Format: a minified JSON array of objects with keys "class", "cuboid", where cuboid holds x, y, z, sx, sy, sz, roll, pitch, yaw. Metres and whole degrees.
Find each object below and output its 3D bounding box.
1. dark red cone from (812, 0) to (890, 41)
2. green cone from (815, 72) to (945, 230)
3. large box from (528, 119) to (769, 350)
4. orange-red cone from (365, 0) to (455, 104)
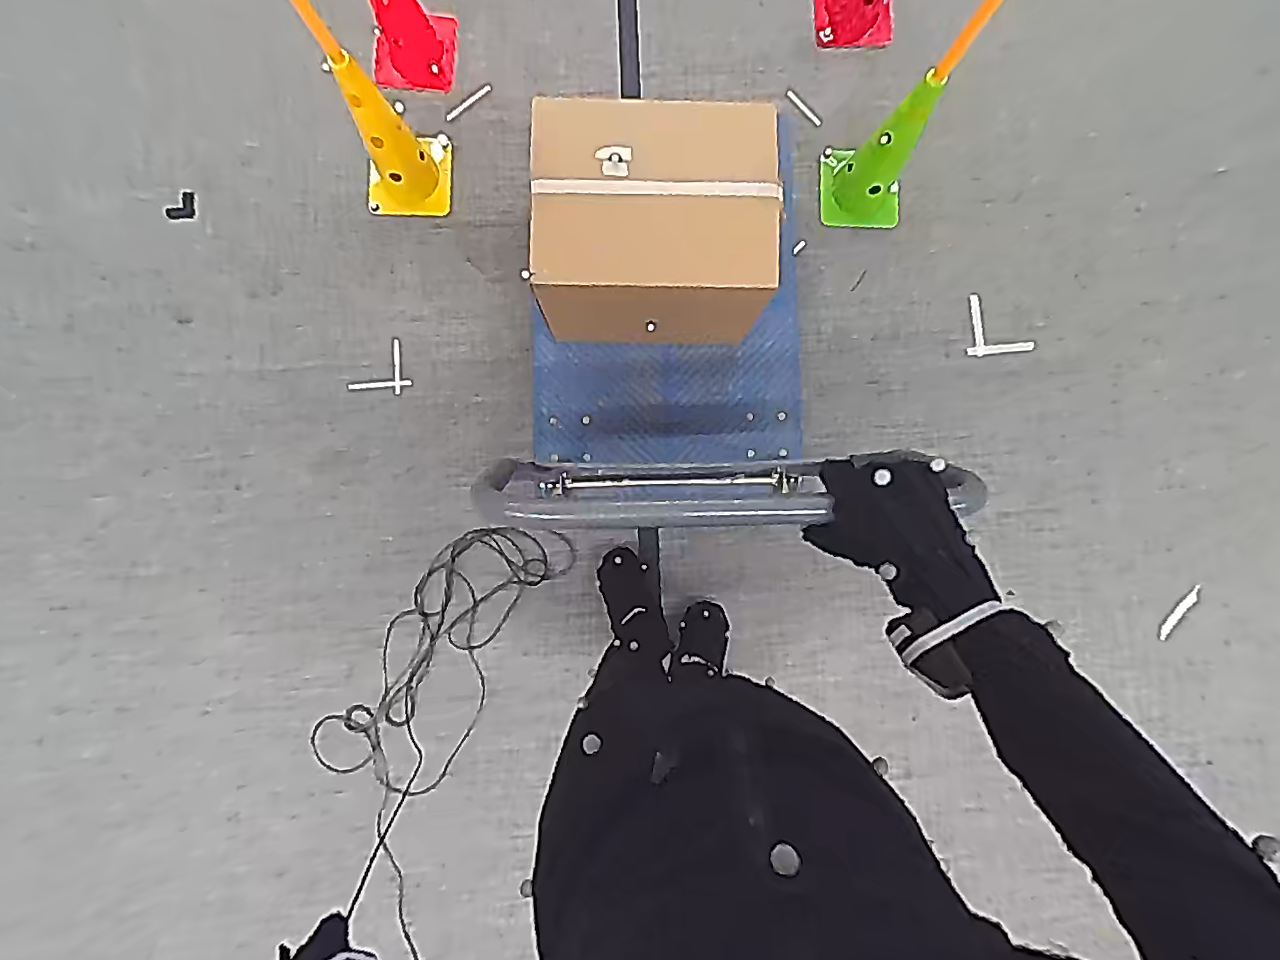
[{"class":"dark red cone","cuboid":[0.549,-1.237,1.233,0.201,0.394,0.202,-3,87,-3]},{"class":"green cone","cuboid":[0.557,-0.752,1.219,0.202,0.368,0.200,1,86,-2]},{"class":"large box","cuboid":[0.013,-0.442,1.044,0.408,0.320,0.320,0,86,-1]},{"class":"orange-red cone","cuboid":[-0.574,-1.084,1.219,0.198,0.360,0.199,4,85,-2]}]
